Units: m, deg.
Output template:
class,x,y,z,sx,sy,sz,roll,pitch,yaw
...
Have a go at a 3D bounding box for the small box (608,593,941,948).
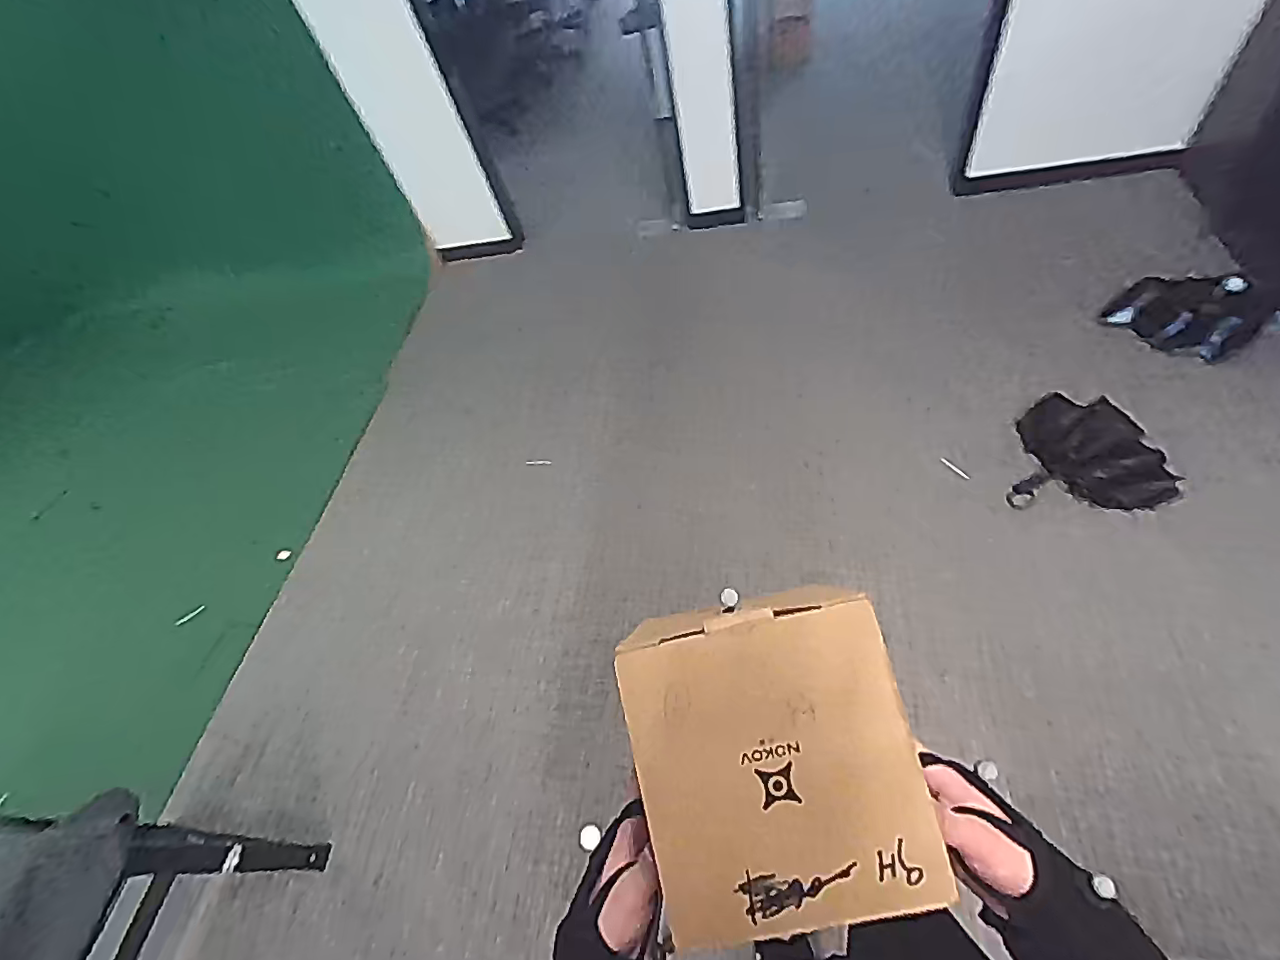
class,x,y,z,sx,sy,sz,roll,pitch,yaw
small box,0.083,0.187,0.405,0.168,0.176,0.179,-14,80,4
